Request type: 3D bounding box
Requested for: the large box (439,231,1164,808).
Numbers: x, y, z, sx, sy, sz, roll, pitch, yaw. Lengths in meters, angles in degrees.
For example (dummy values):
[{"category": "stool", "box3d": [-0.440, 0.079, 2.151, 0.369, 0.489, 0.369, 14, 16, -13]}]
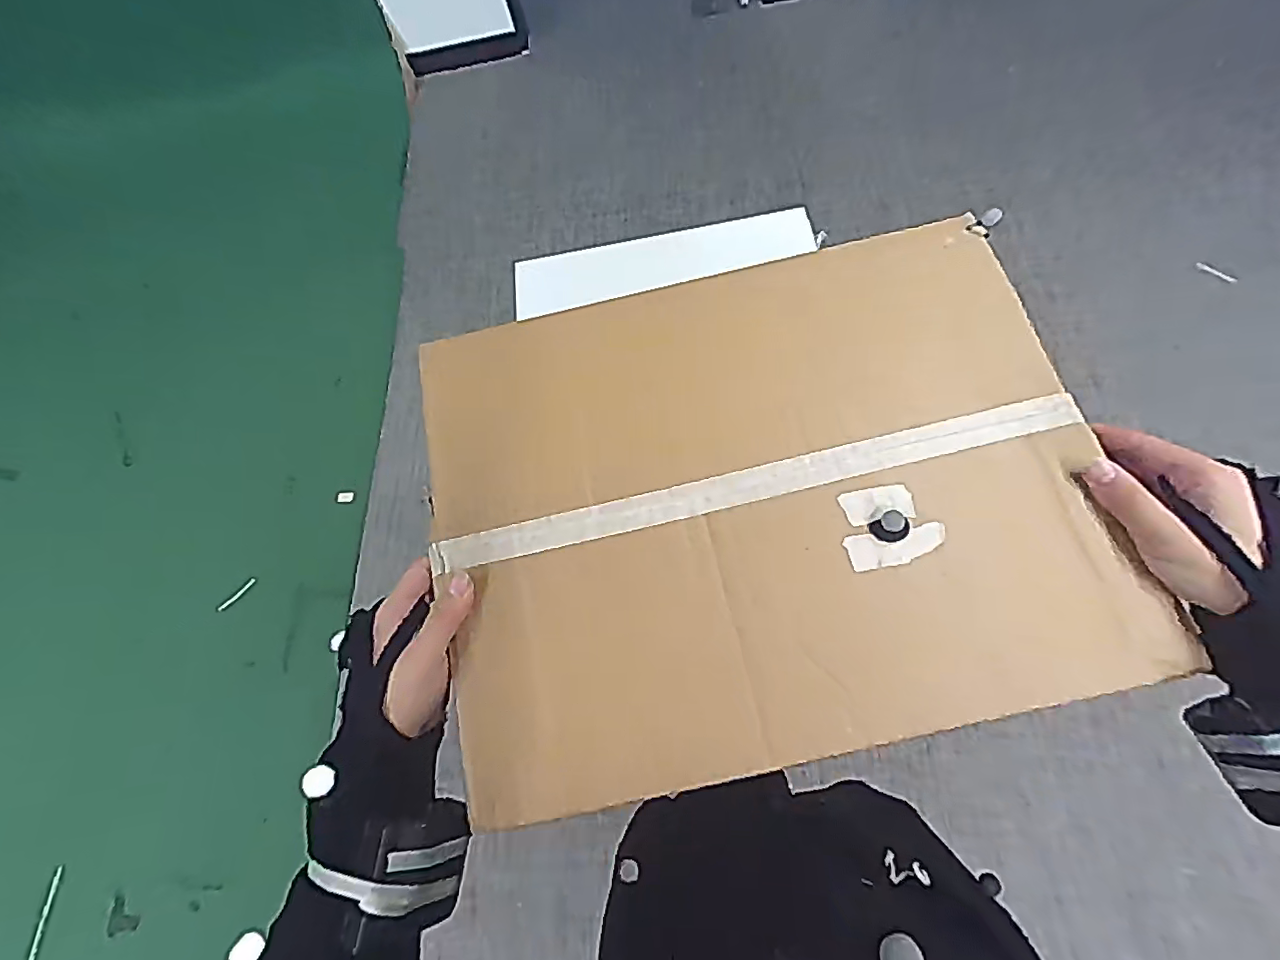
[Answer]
[{"category": "large box", "box3d": [0.084, 0.046, 0.494, 0.408, 0.320, 0.320, -13, 72, -1]}]
